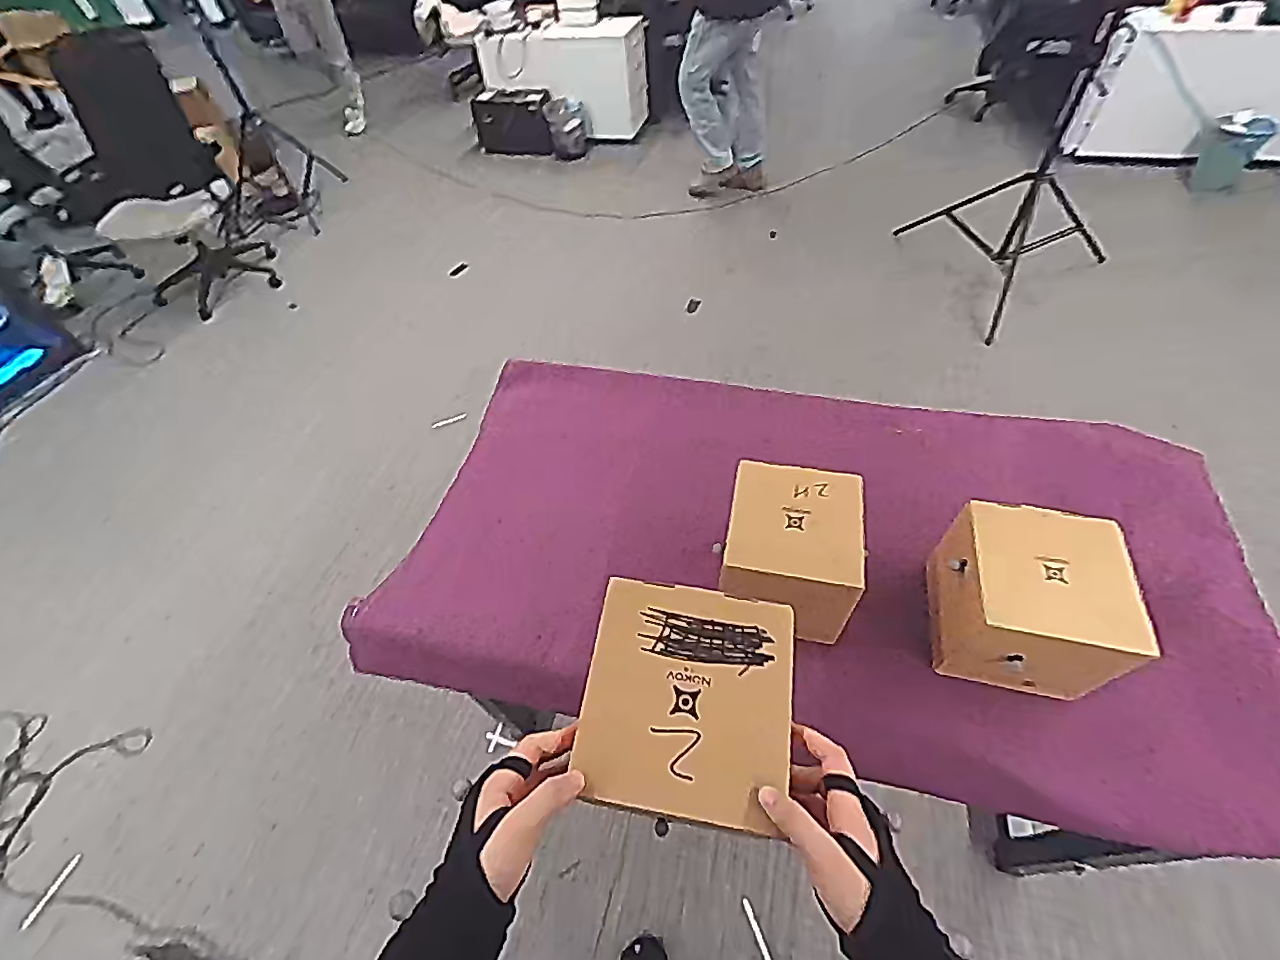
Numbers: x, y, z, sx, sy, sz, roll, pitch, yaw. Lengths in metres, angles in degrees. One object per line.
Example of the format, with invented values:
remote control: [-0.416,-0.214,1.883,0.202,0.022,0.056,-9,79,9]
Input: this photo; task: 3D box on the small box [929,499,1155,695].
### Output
small box: [0.487,0.152,0.691,0.168,0.176,0.179,9,53,12]

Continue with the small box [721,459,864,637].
small box: [0.208,0.099,0.757,0.168,0.176,0.179,9,52,11]
